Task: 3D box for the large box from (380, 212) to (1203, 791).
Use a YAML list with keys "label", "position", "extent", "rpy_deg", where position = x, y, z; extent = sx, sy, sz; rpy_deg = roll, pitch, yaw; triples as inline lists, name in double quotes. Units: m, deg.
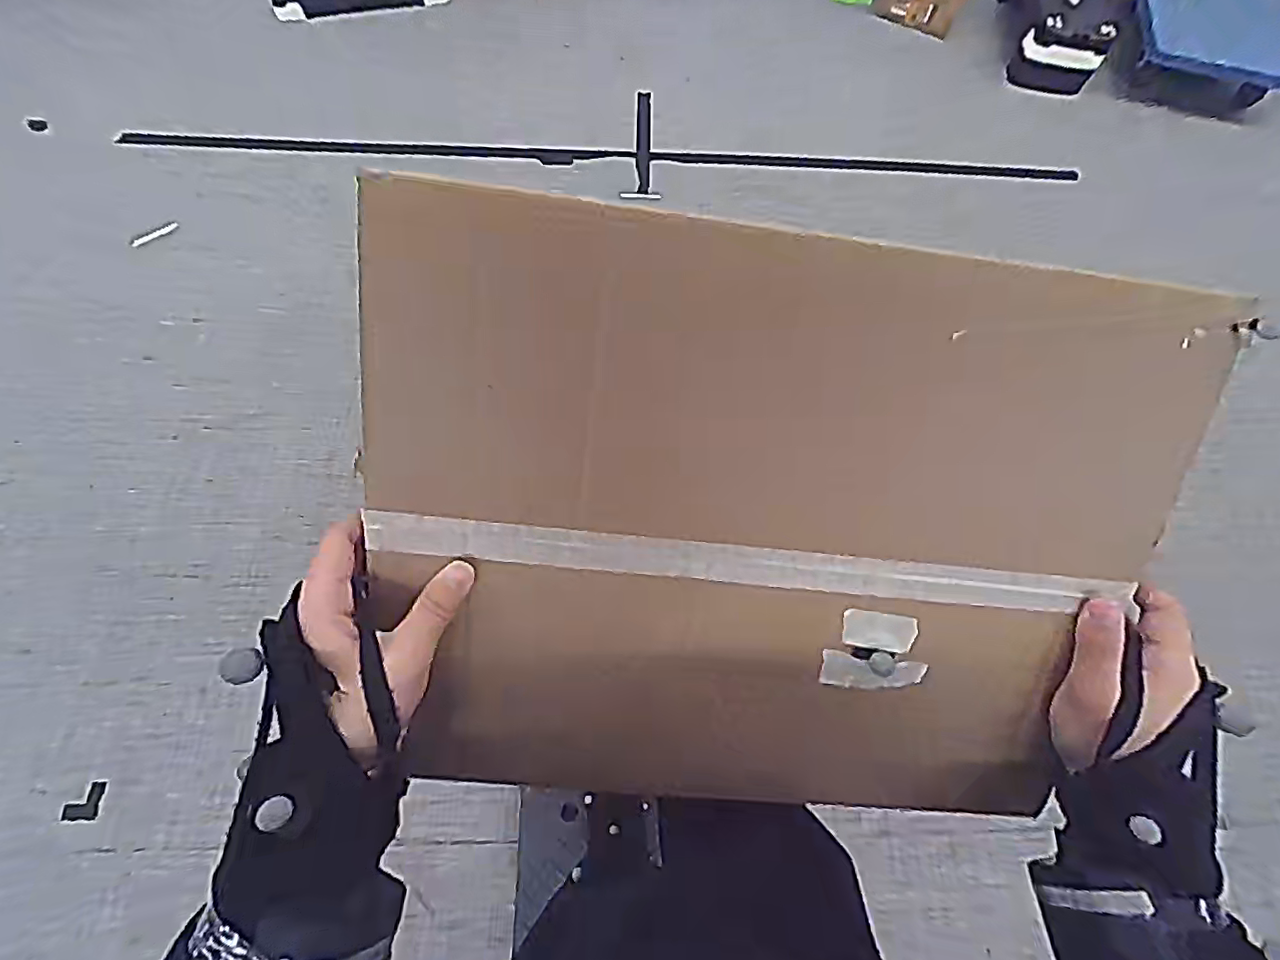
- label: "large box"
  position: [0.058, 0.000, 0.435]
  extent: [0.408, 0.320, 0.320]
  rpy_deg: [5, 108, -5]
